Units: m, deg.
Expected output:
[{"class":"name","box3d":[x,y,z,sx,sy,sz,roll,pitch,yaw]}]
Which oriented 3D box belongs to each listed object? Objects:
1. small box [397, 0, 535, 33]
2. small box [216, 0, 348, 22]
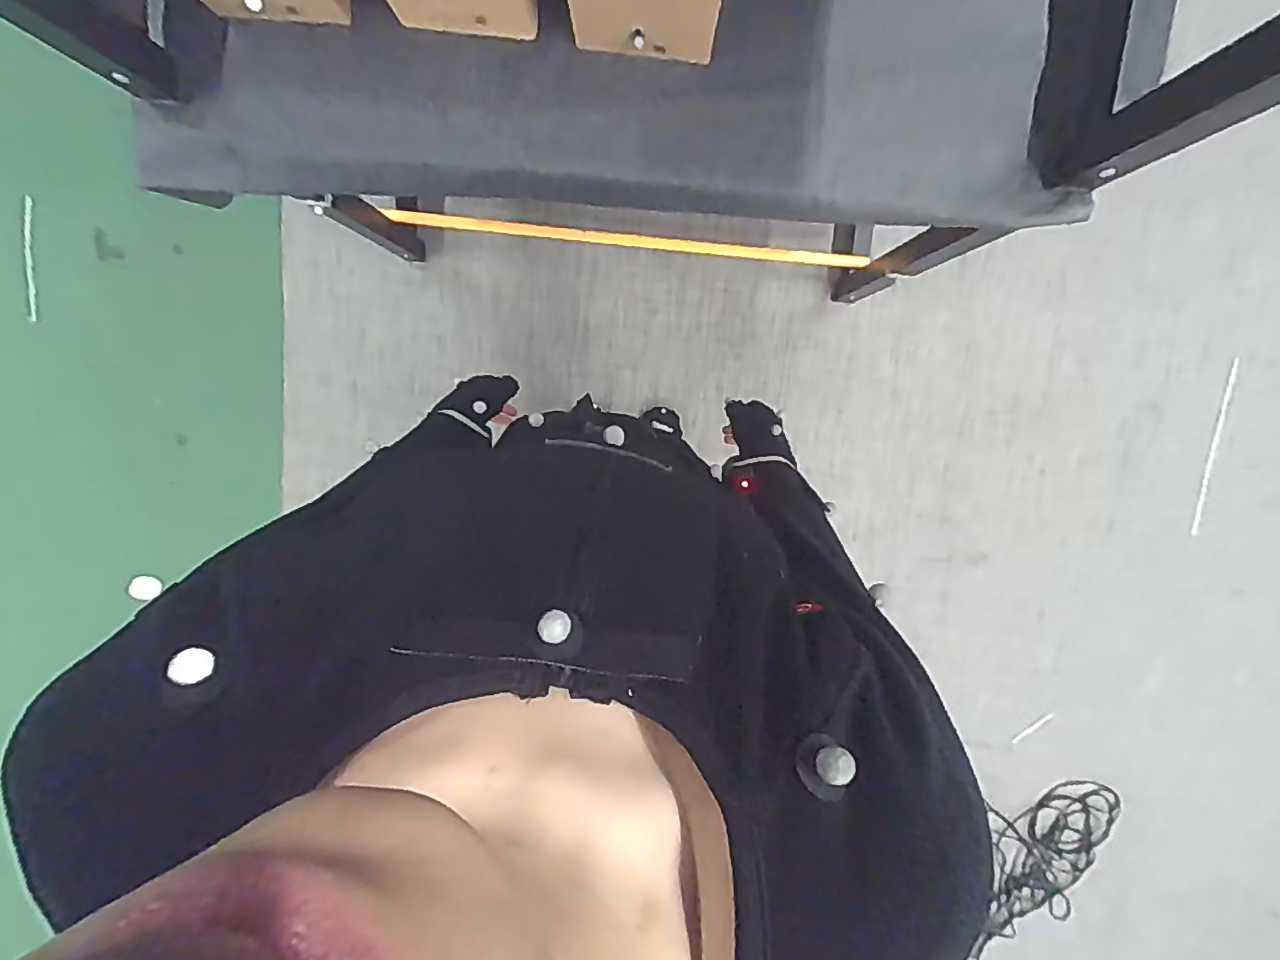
[{"class":"small box","box3d":[-0.202,-0.621,0.568,0.168,0.176,0.179,6,98,-1]},{"class":"small box","box3d":[-0.428,-0.636,0.563,0.168,0.176,0.179,3,99,0]}]
